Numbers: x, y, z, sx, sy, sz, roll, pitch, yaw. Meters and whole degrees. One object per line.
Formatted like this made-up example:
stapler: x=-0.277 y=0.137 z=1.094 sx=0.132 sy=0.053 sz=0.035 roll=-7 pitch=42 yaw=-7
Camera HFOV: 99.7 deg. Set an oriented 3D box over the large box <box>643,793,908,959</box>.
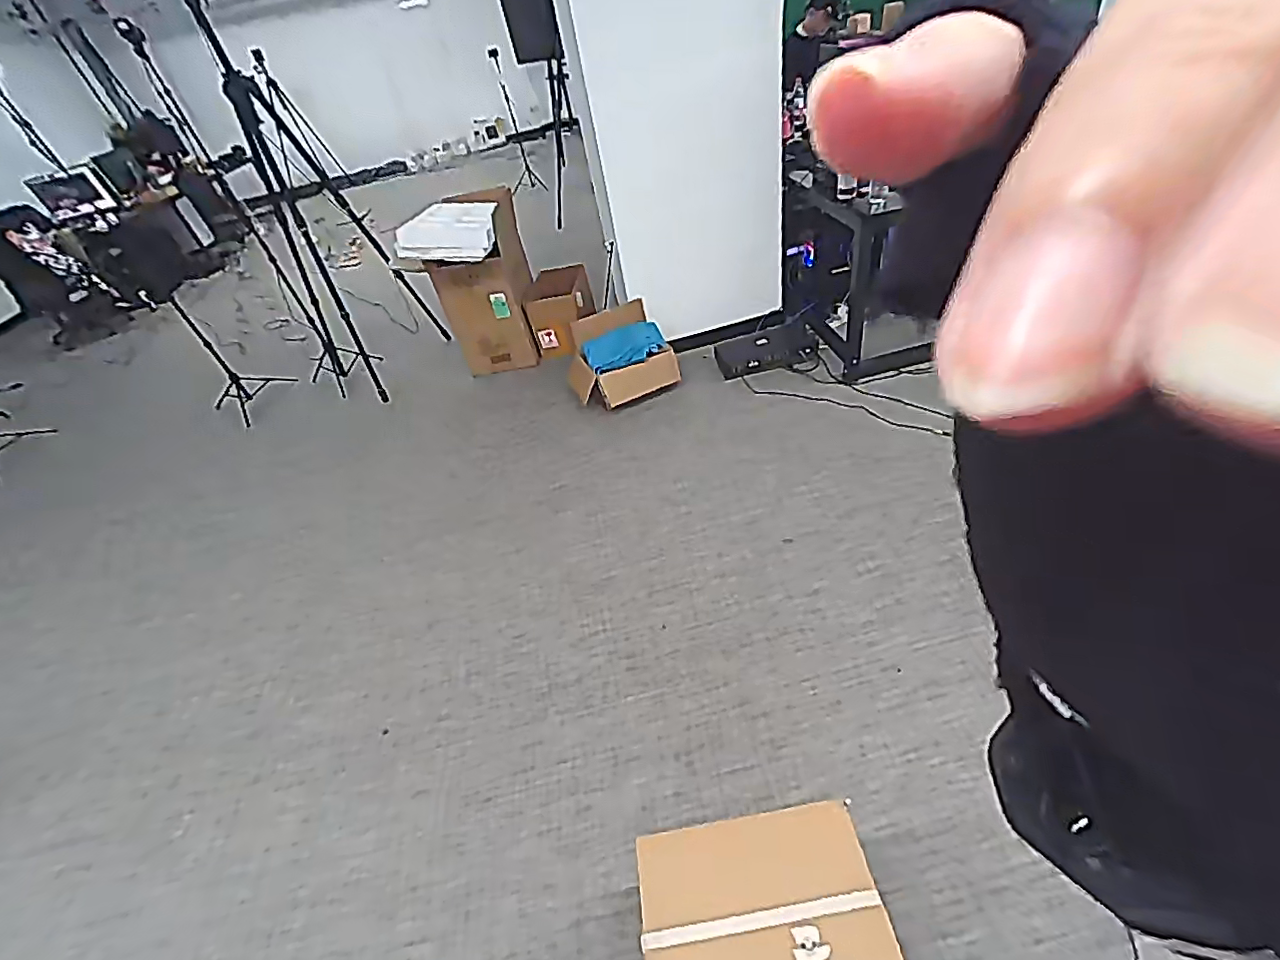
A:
large box: x=0.241 y=0.848 z=1.015 sx=0.408 sy=0.320 sz=0.320 roll=-12 pitch=41 yaw=2
